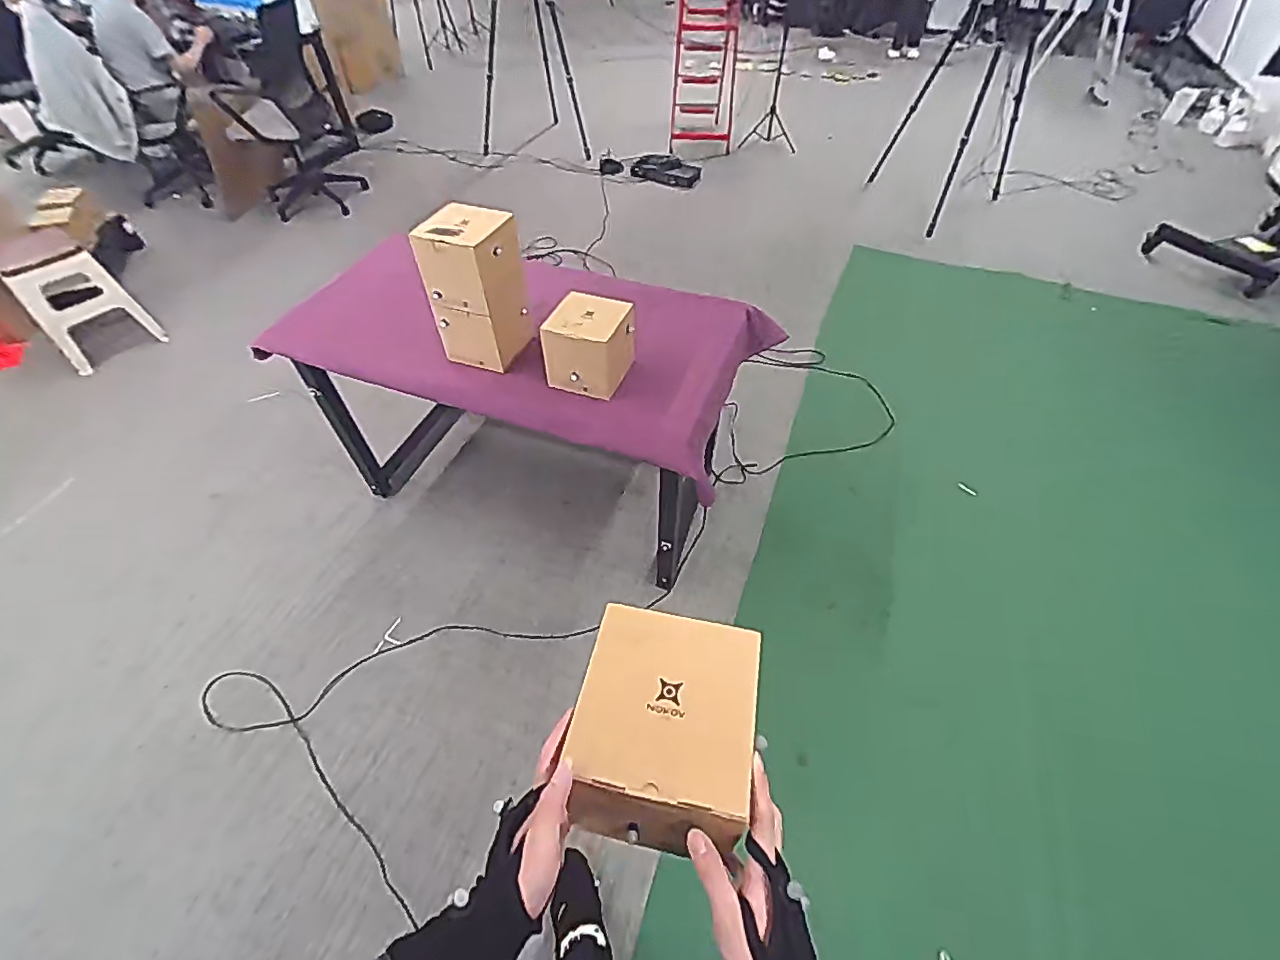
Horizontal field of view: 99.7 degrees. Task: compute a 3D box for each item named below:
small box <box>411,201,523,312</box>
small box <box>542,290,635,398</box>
[{"bbox_3d":[-0.388,-0.515,1.251,0.168,0.176,0.179,16,51,12],"label":"small box"},{"bbox_3d":[-0.119,-0.329,1.312,0.168,0.176,0.179,16,51,13],"label":"small box"}]
